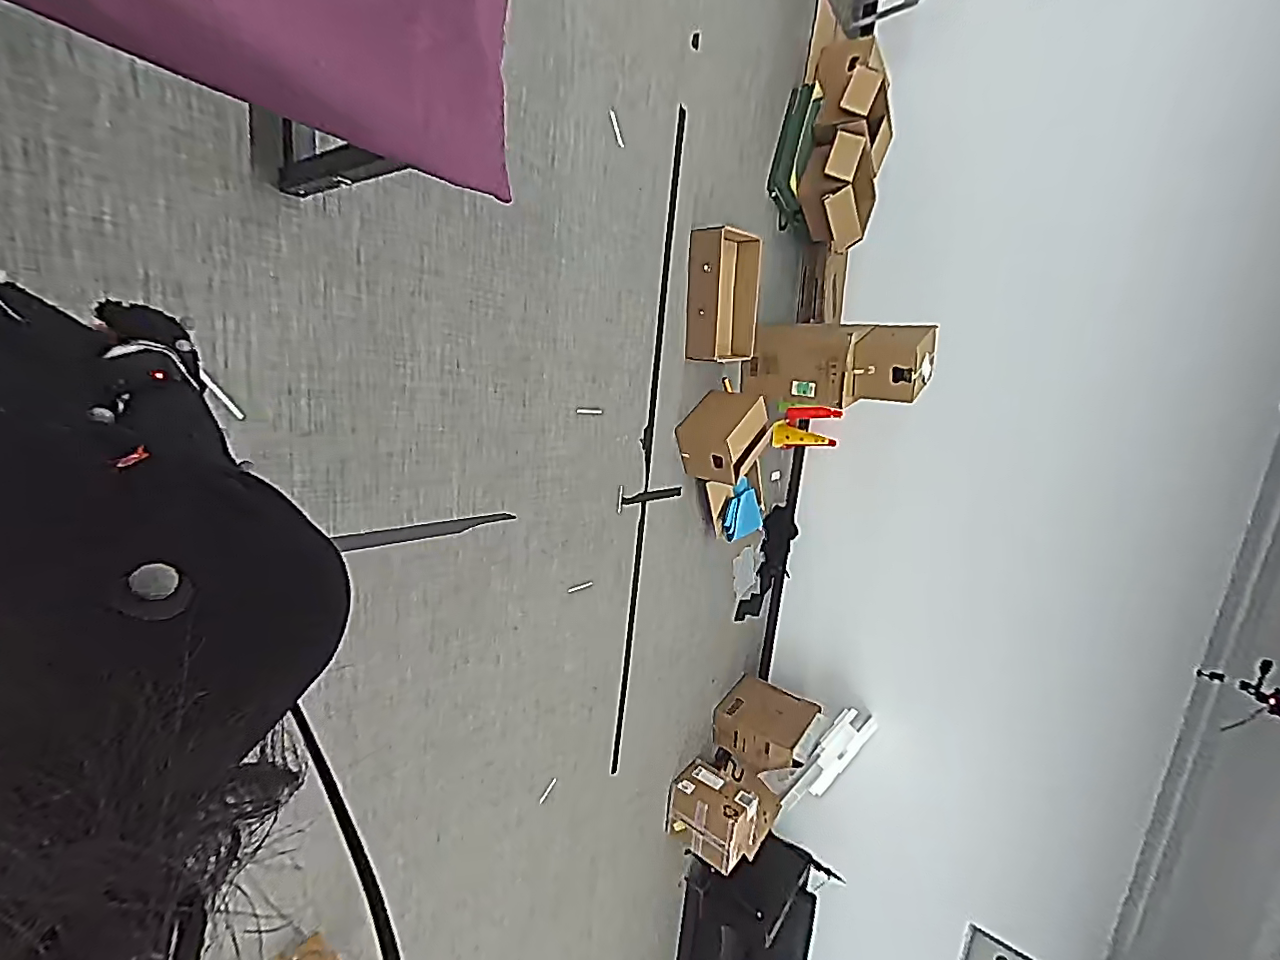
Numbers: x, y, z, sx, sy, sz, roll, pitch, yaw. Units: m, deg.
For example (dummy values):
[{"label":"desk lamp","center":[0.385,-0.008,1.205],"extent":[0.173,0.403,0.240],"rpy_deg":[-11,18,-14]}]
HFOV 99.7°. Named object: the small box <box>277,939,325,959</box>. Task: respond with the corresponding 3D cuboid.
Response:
[{"label":"small box","center":[-1.053,1.560,1.628],"extent":[0.179,0.176,0.168],"rpy_deg":[-9,108,-53]}]
